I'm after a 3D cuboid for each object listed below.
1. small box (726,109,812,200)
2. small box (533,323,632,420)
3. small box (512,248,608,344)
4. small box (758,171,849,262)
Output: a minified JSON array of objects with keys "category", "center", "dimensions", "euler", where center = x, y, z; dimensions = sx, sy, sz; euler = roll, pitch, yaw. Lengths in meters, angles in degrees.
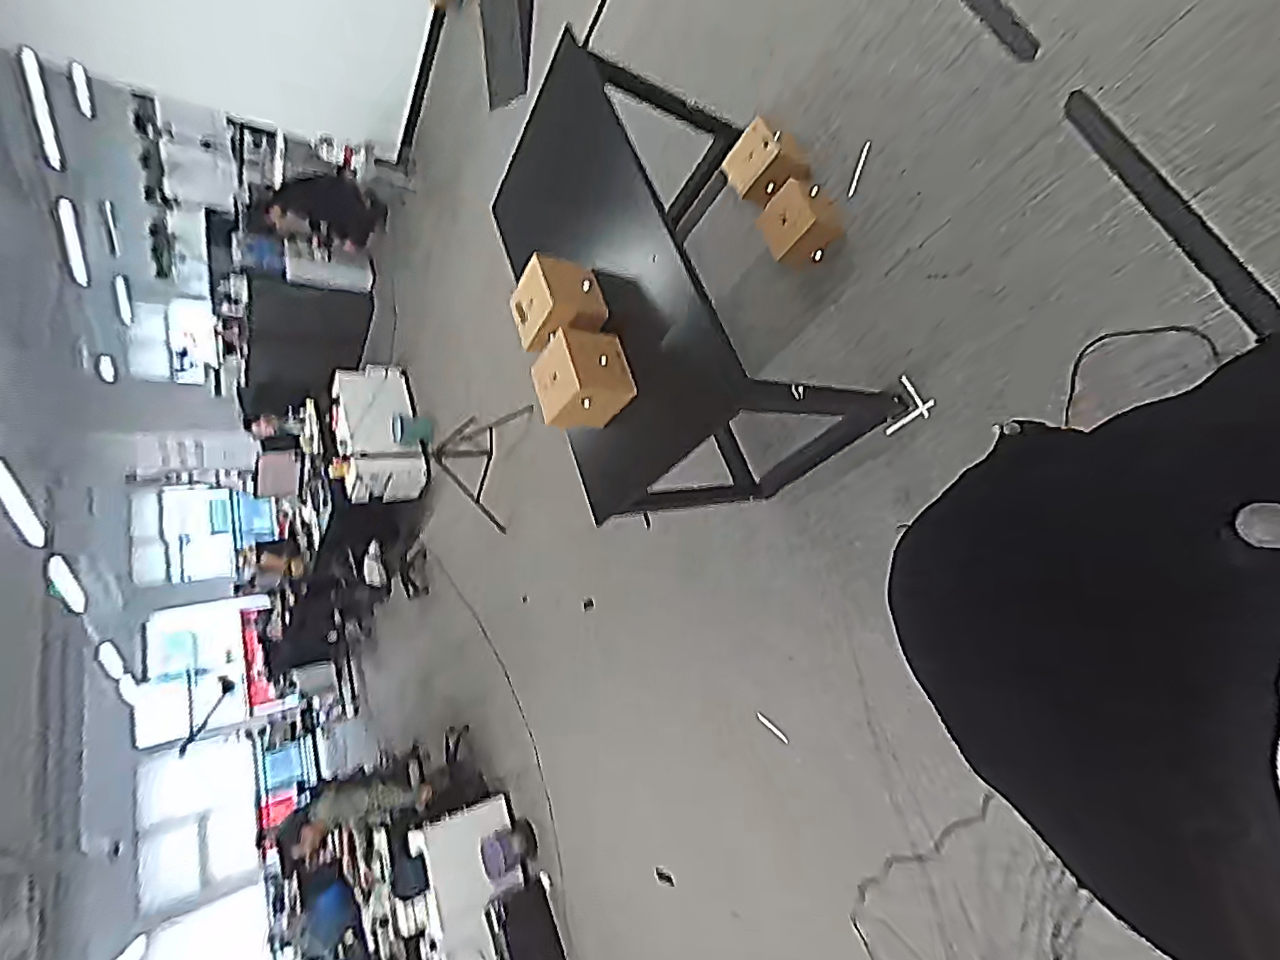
[{"category":"small box","center":[0.415,-1.033,1.739],"dimensions":[0.179,0.176,0.168],"euler":[-42,62,45]},{"category":"small box","center":[-0.138,-0.260,1.332],"dimensions":[0.179,0.176,0.168],"euler":[-37,64,47]},{"category":"small box","center":[-0.208,-0.461,1.403],"dimensions":[0.179,0.176,0.168],"euler":[-41,62,44]},{"category":"small box","center":[0.501,-0.798,1.658],"dimensions":[0.168,0.176,0.179],"euler":[-42,62,46]}]
